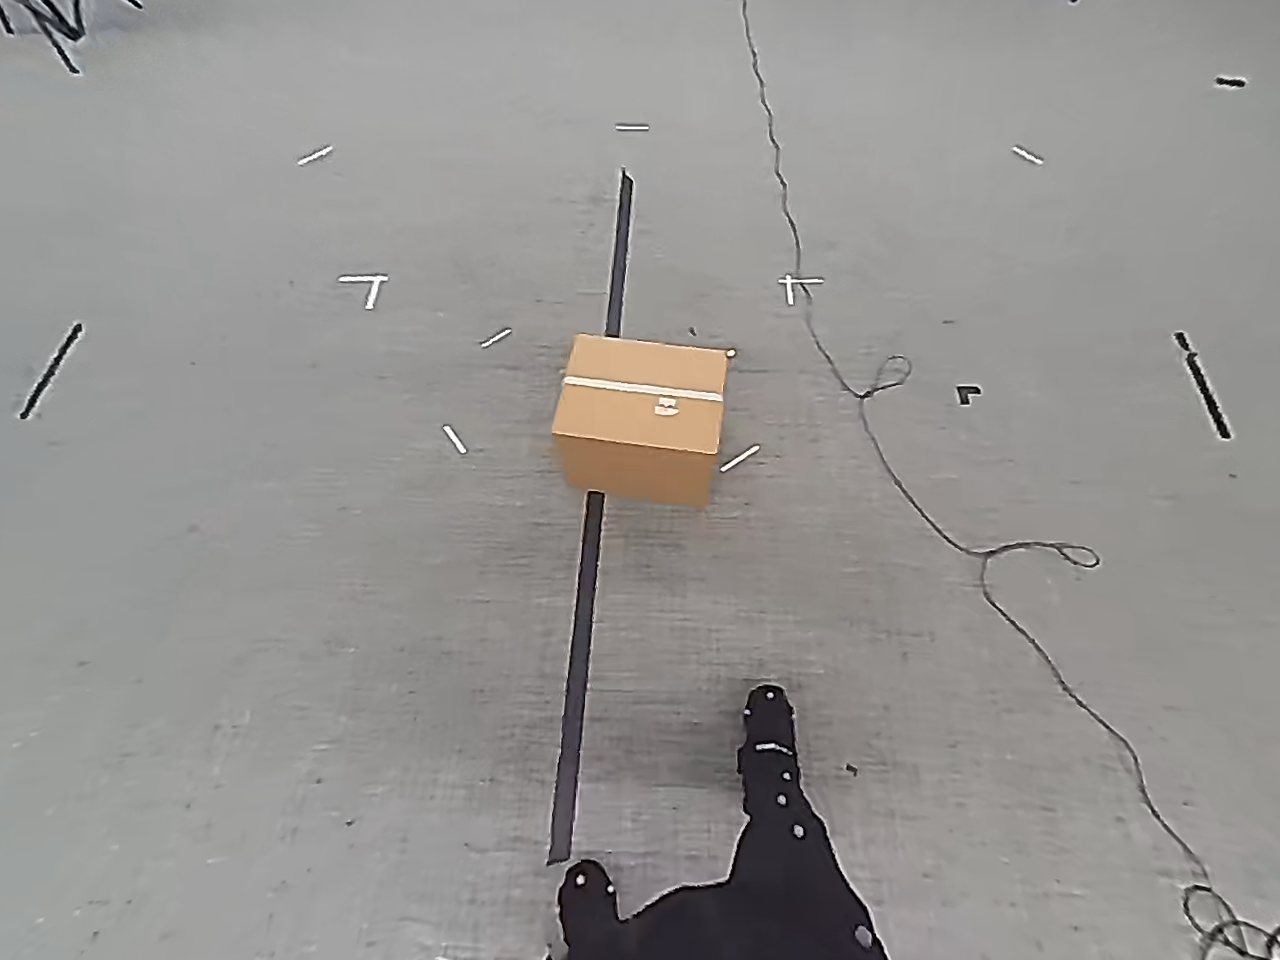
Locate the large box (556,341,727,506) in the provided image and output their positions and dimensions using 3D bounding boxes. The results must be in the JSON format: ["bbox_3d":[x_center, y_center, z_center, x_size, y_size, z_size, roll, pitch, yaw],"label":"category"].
[{"bbox_3d":[0.011,-0.148,1.492,0.408,0.320,0.320,8,64,5],"label":"large box"}]
